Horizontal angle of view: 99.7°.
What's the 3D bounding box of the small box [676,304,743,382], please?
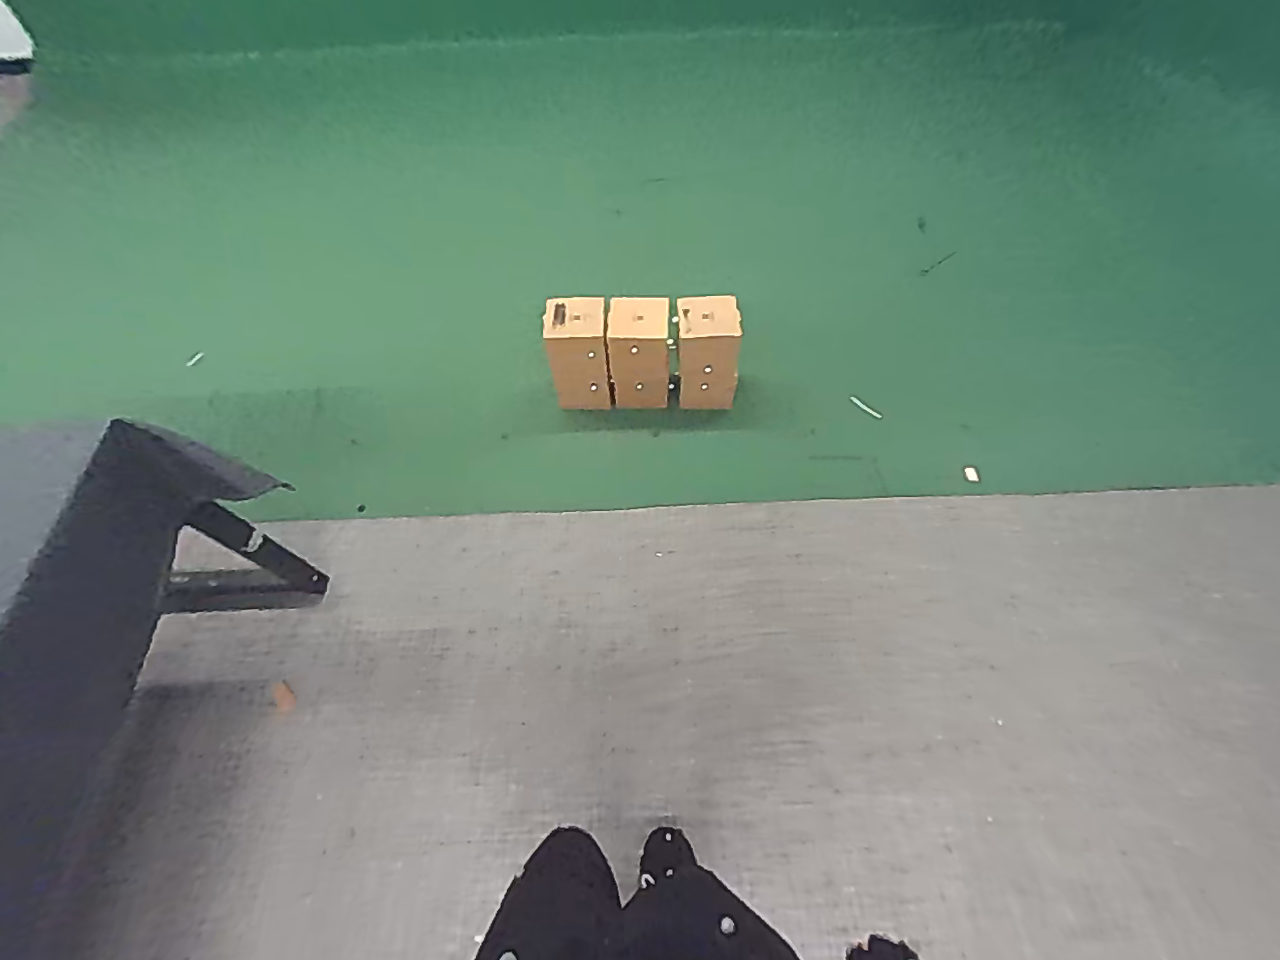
[{"bbox_3d":[0.205,-0.412,1.642,0.179,0.176,0.168,-1,59,0],"label":"small box"}]
